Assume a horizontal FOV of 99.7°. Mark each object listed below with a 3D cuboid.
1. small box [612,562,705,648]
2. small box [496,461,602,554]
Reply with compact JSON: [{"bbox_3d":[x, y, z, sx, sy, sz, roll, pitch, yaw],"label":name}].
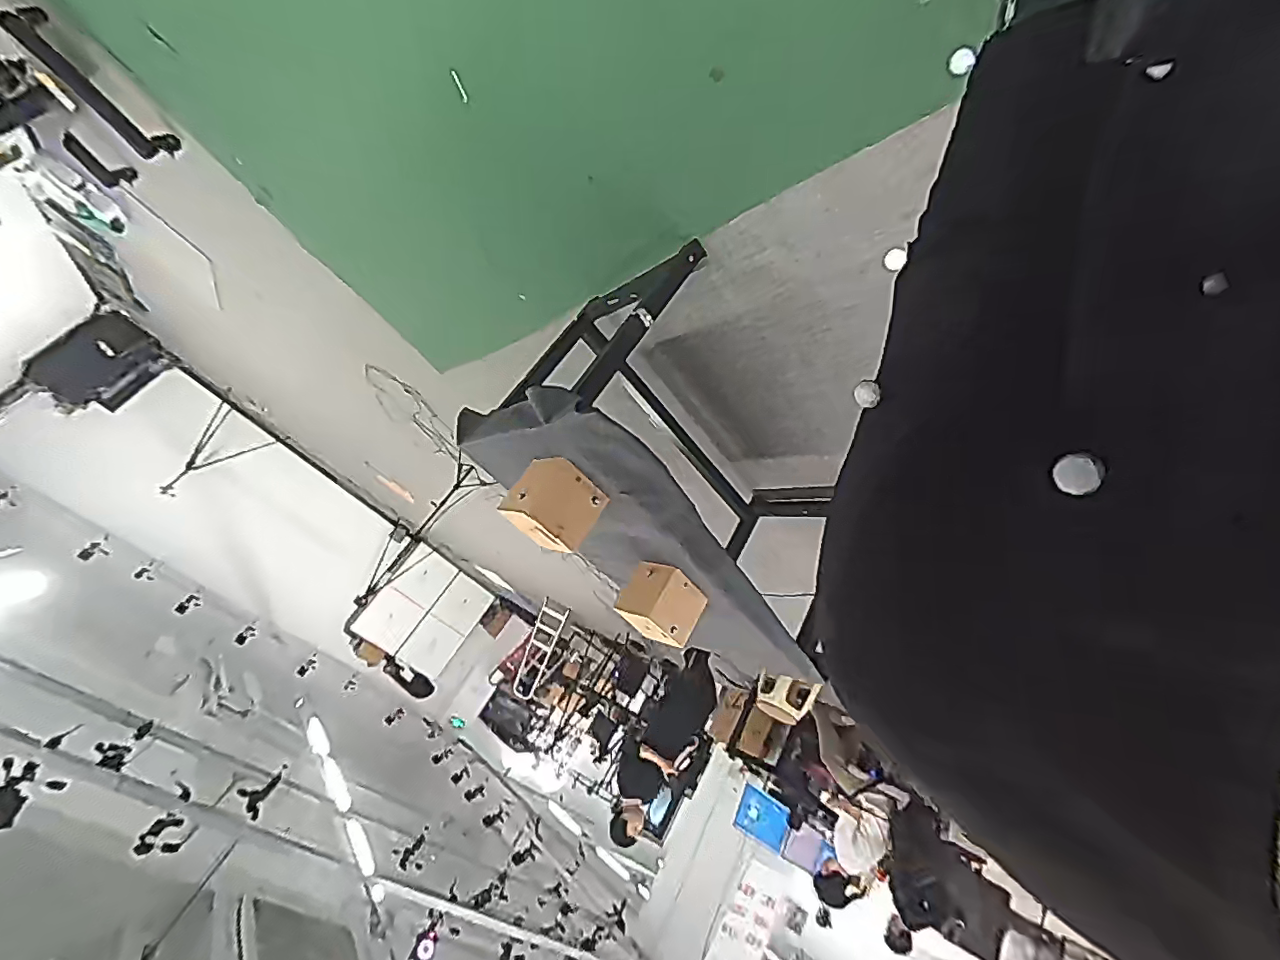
[{"bbox_3d":[0.057,0.357,1.573,0.168,0.176,0.179,46,154,-27],"label":"small box"},{"bbox_3d":[-0.220,0.064,1.349,0.168,0.176,0.179,45,155,-28],"label":"small box"}]
